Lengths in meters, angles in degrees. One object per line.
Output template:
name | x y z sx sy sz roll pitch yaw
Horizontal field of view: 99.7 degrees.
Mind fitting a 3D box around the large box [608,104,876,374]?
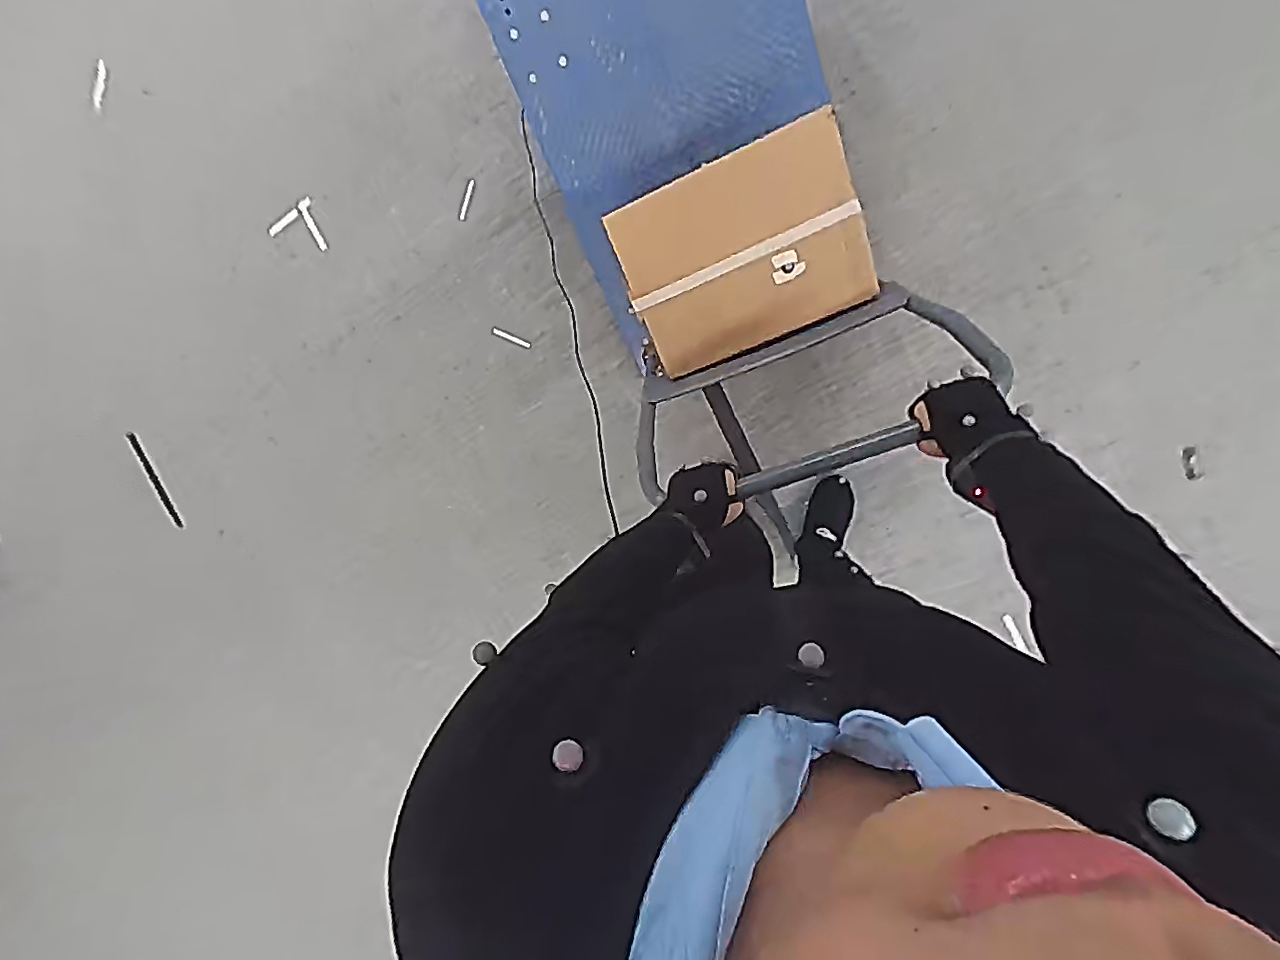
large box | 0.192 -0.462 1.093 0.408 0.320 0.320 -21 112 13
